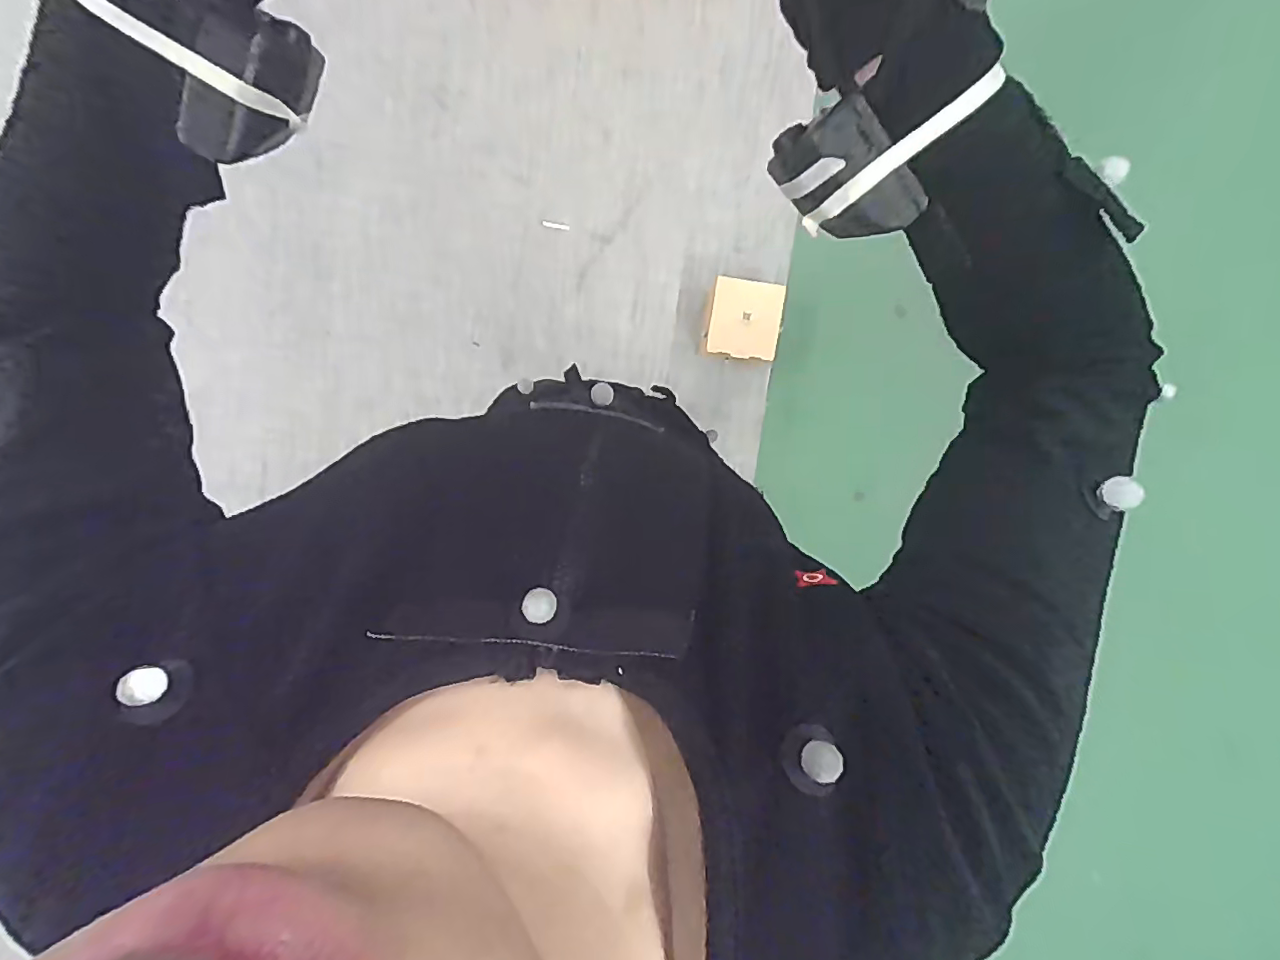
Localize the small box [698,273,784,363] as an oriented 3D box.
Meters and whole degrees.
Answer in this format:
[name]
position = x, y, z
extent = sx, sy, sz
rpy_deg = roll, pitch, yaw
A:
[small box]
position = 0.243, -0.395, 1.344
extent = 0.168, 0.176, 0.179
rpy_deg = 7, 98, -1
